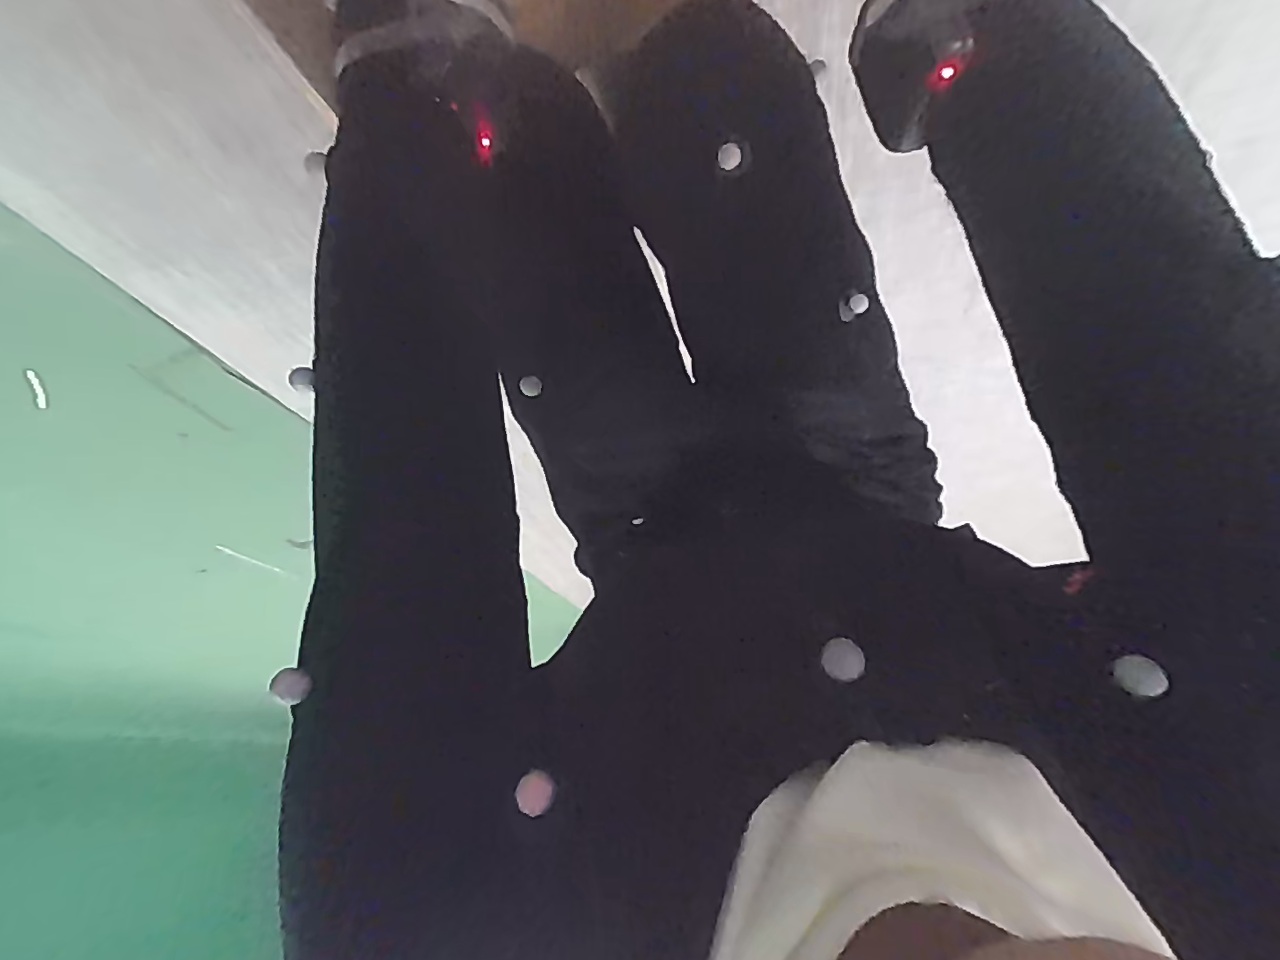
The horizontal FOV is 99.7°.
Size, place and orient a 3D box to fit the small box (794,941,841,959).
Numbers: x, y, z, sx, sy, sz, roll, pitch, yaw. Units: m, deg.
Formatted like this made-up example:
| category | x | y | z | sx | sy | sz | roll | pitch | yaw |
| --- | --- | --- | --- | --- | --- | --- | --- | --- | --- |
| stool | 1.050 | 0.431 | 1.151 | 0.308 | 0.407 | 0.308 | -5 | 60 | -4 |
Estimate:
| category | x | y | z | sx | sy | sz | roll | pitch | yaw |
| --- | --- | --- | --- | --- | --- | --- | --- | --- | --- |
| small box | 0.672 | 1.839 | 1.999 | 0.168 | 0.176 | 0.179 | -14 | 148 | 10 |
